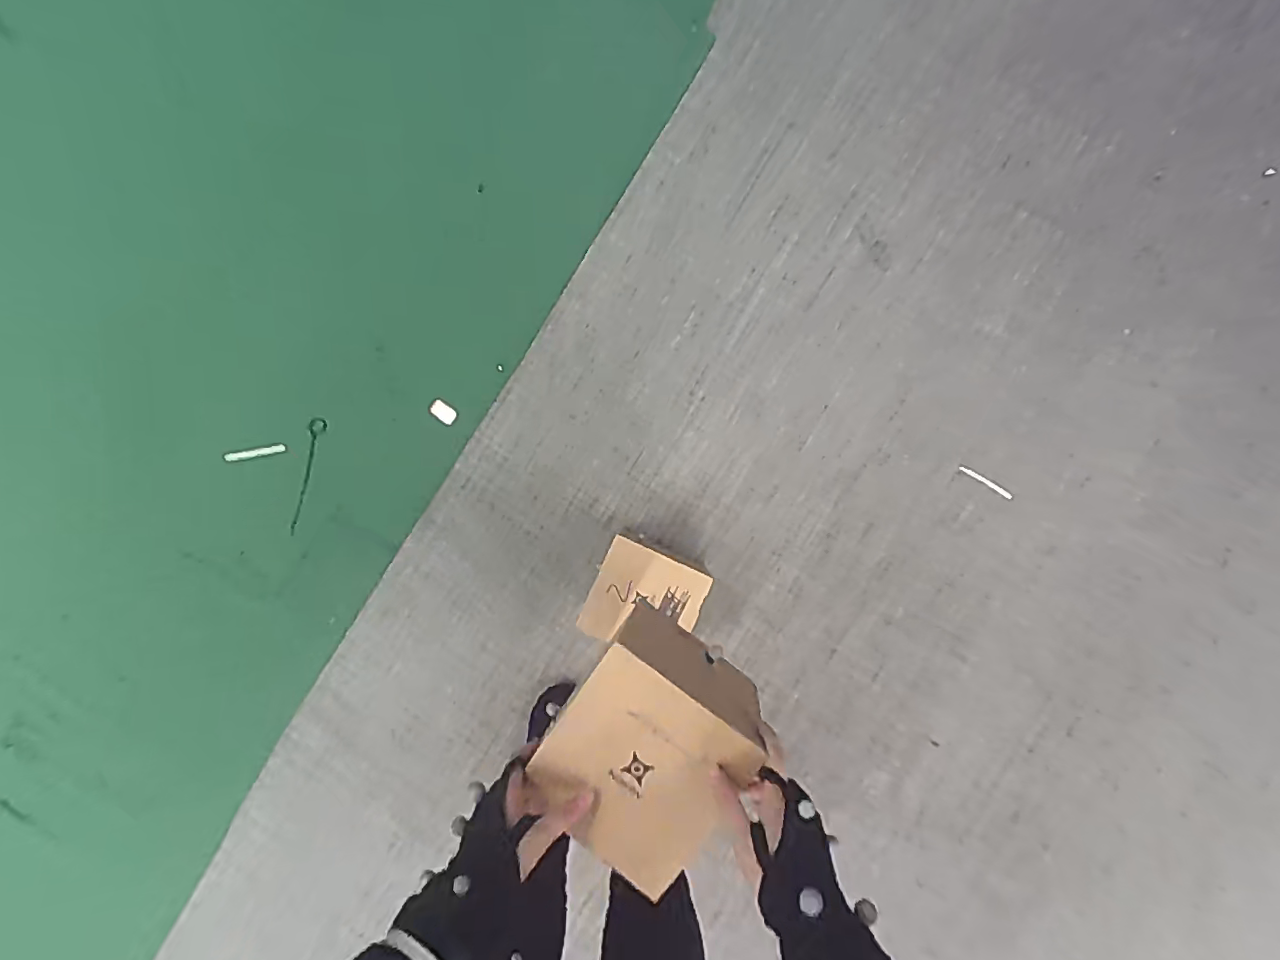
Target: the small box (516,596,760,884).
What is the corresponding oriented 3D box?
[{"bbox_3d":[0.006,0.252,0.572,0.168,0.176,0.179,36,96,5],"label":"small box"}]
